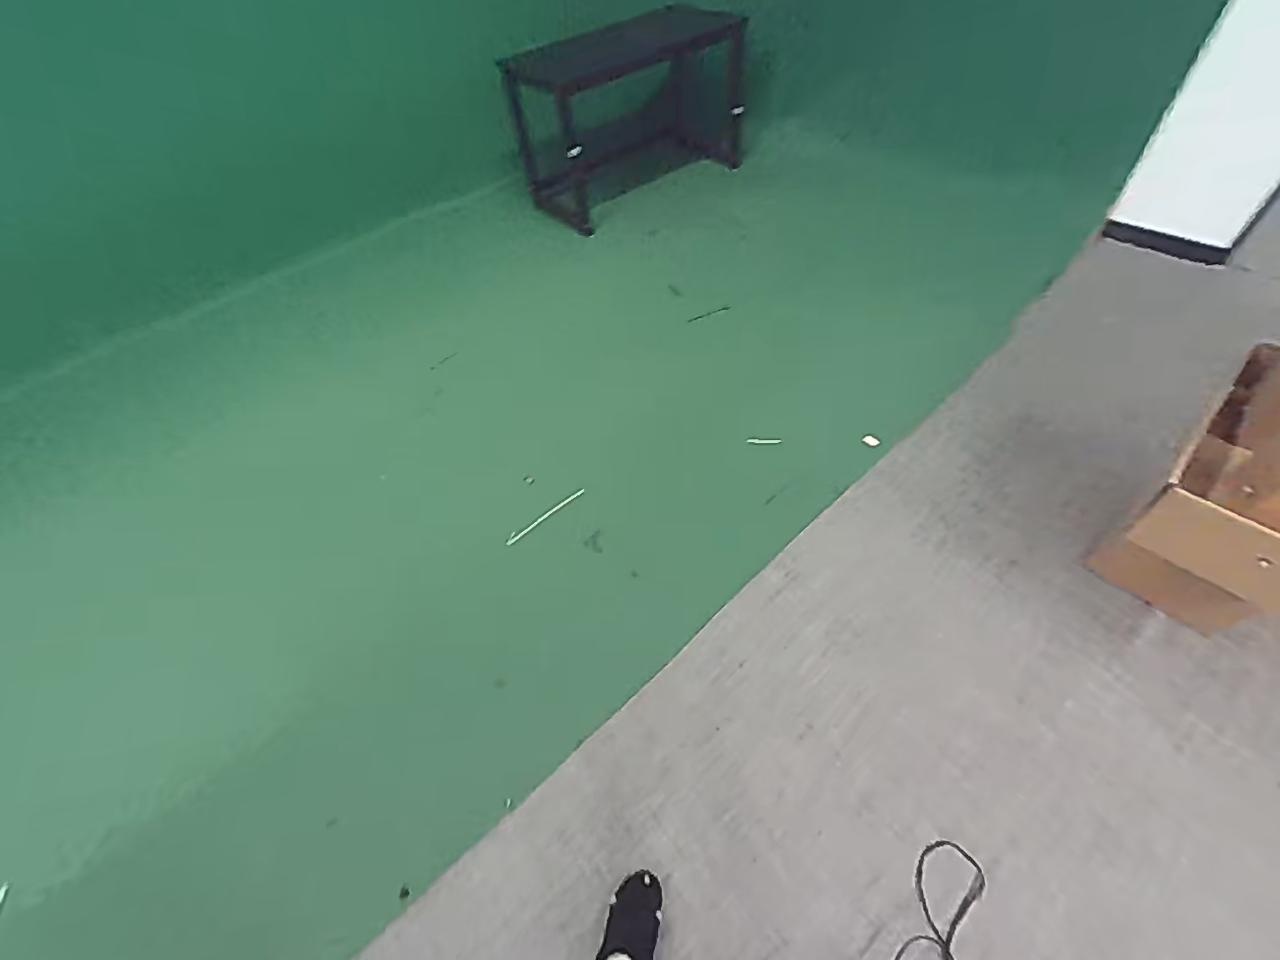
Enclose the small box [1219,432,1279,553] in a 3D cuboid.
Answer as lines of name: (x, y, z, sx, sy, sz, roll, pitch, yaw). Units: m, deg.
small box: (1.340, 0.039, 1.099, 0.168, 0.176, 0.179, 25, 58, 24)
